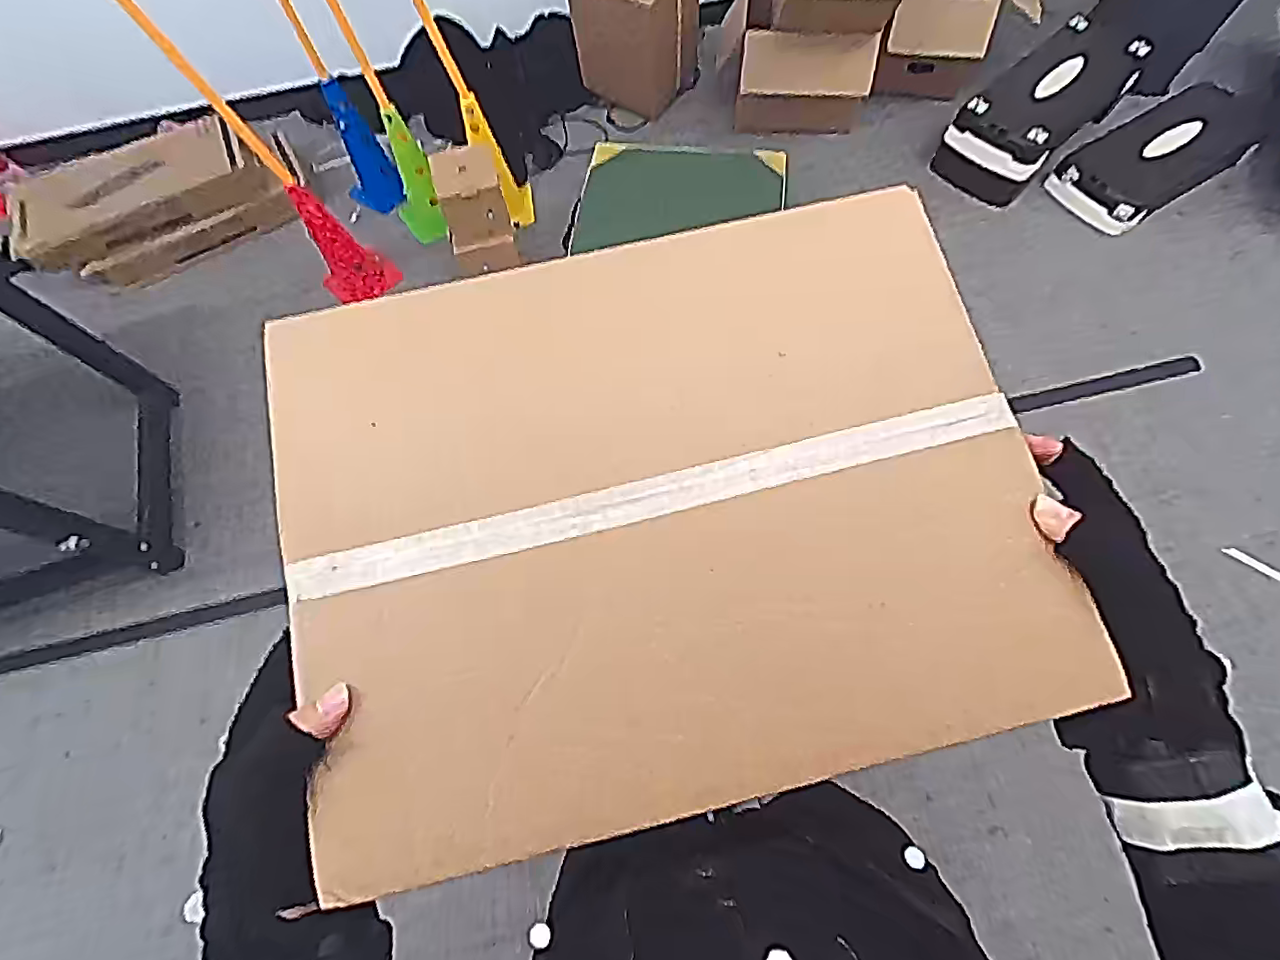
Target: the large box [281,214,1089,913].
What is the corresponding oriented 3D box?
[{"bbox_3d":[0.012,0.053,0.450,0.408,0.320,0.320,-14,76,-2],"label":"large box"}]
